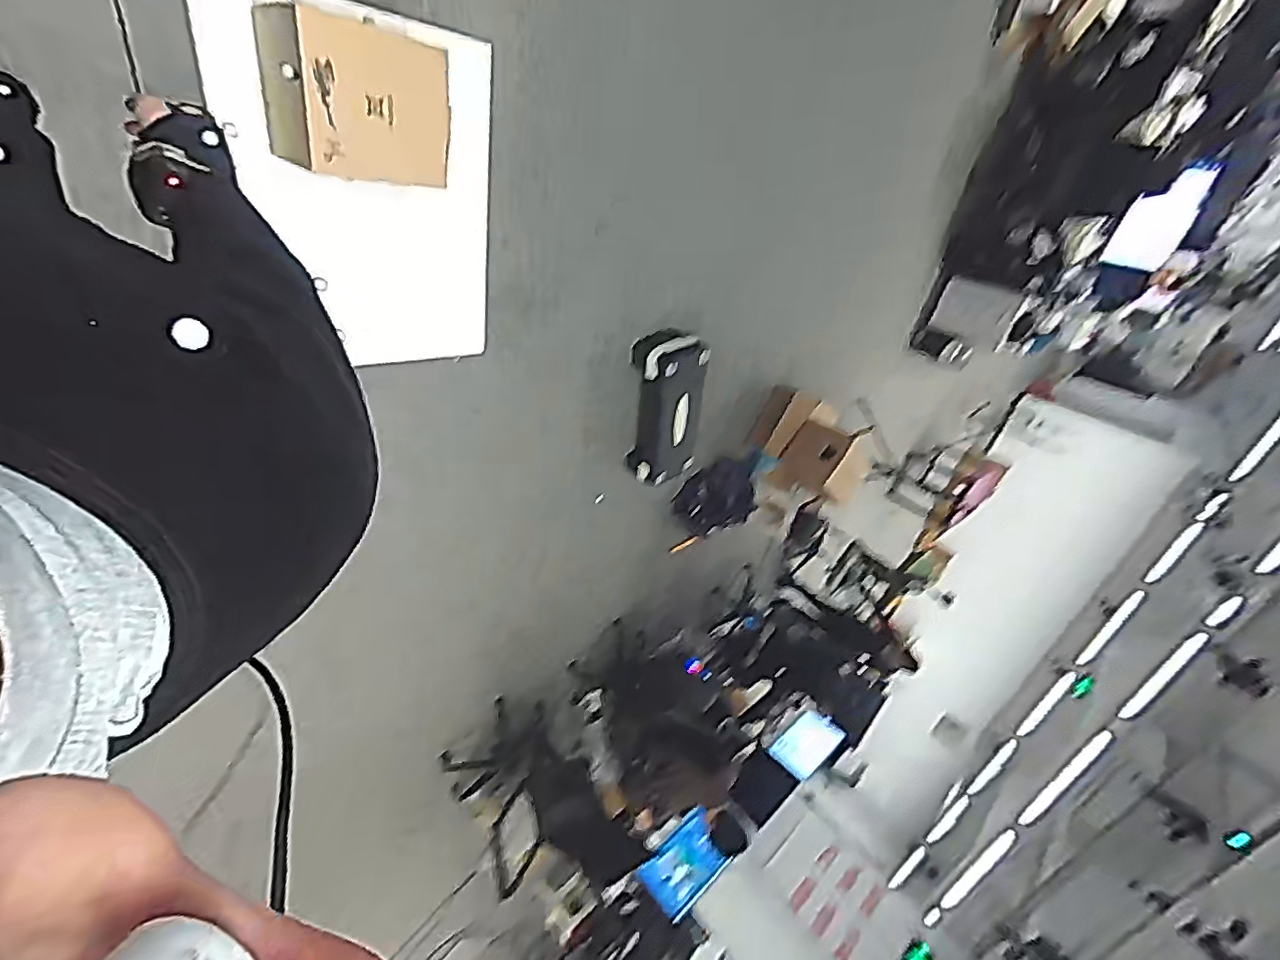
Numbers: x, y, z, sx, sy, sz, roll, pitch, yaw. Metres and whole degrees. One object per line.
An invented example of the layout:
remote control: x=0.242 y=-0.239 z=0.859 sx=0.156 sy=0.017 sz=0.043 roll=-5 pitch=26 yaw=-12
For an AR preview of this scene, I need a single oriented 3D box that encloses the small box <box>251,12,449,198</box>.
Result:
small box: x=-0.376 y=-0.487 z=0.712 sx=0.179 sy=0.176 sz=0.168 roll=-18 pitch=132 yaw=-43
